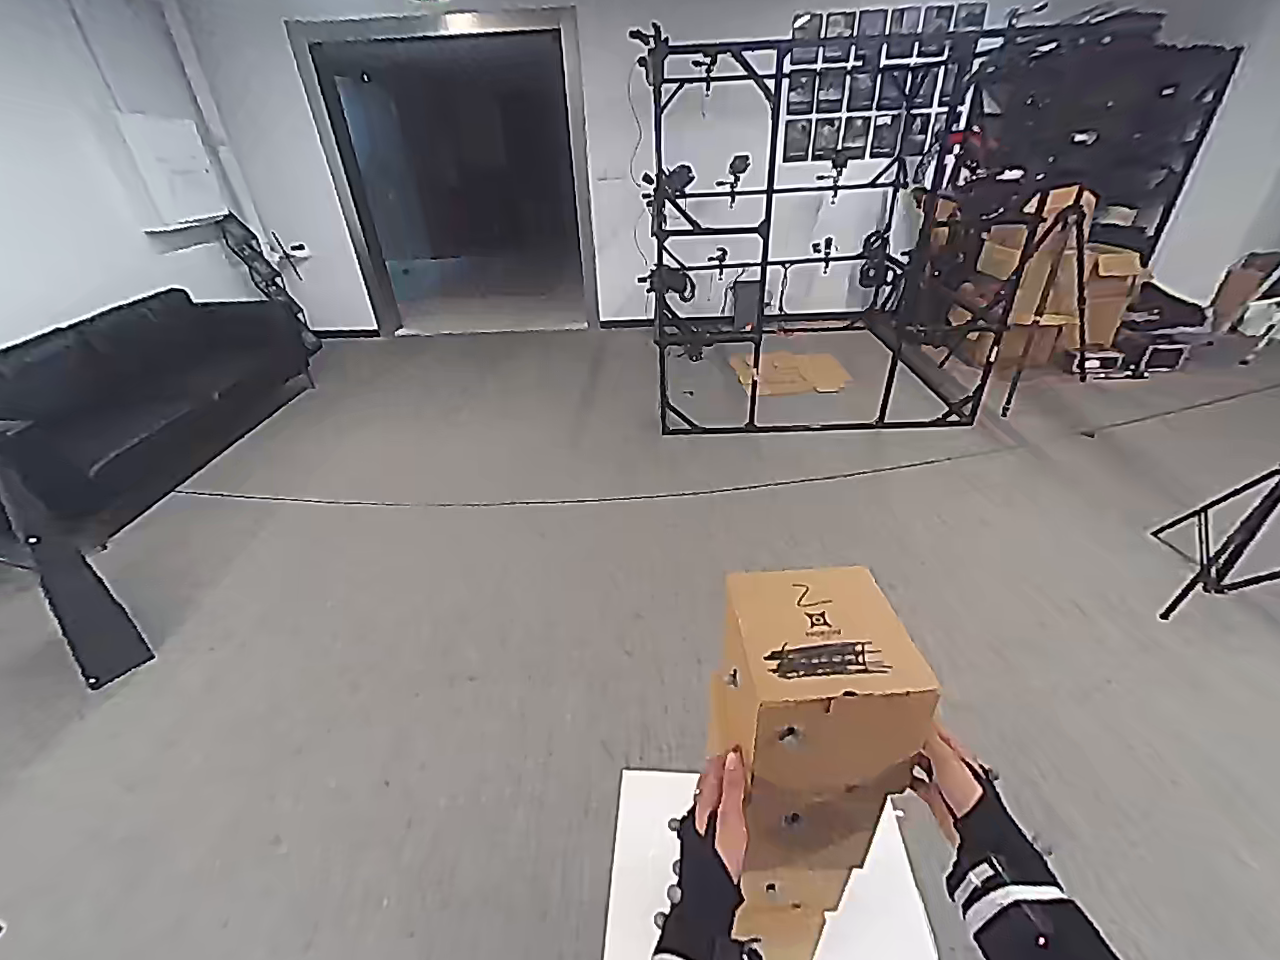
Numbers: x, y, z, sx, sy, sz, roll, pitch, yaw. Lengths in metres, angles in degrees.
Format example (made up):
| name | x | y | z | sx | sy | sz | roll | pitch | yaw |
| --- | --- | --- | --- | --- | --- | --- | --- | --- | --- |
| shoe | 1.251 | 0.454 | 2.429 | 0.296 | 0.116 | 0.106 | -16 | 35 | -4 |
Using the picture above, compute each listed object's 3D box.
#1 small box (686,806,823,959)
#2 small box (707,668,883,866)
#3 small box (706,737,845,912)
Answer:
| name | x | y | z | sx | sy | sz | roll | pitch | yaw |
| --- | --- | --- | --- | --- | --- | --- | --- | --- | --- |
| small box | 0.169 | 0.640 | 0.855 | 0.179 | 0.176 | 0.168 | -3 | 32 | -2 |
| small box | 0.178 | 0.361 | 0.684 | 0.179 | 0.176 | 0.168 | -2 | 32 | 2 |
| small box | 0.188 | 0.493 | 0.782 | 0.168 | 0.176 | 0.179 | -3 | 31 | -1 |
